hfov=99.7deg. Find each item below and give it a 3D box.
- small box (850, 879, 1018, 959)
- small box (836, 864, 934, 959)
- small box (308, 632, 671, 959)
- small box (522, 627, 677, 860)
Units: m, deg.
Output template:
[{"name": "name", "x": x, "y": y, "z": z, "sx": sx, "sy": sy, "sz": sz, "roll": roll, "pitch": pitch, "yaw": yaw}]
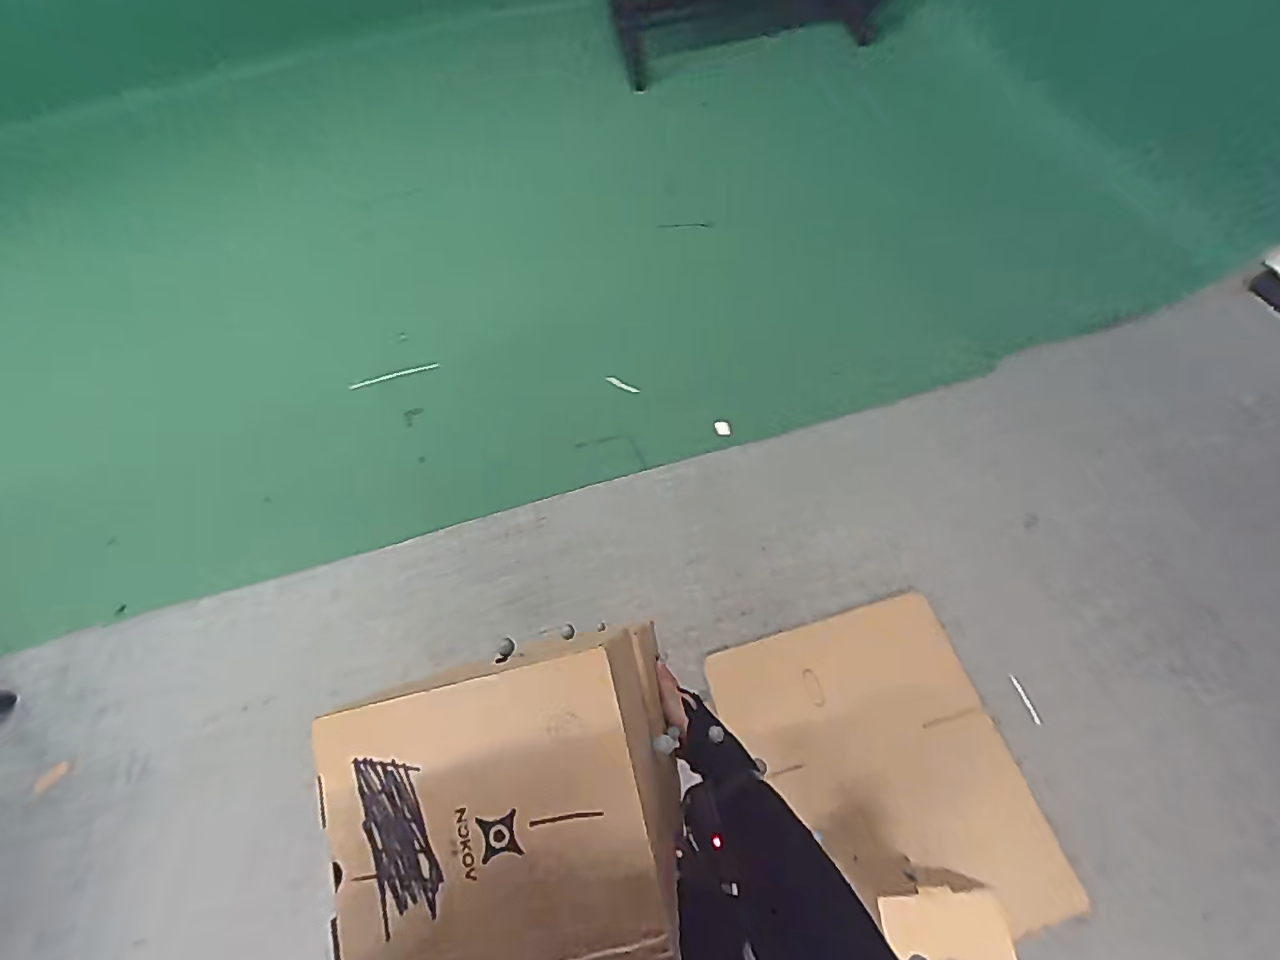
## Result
[{"name": "small box", "x": 0.416, "y": 0.684, "z": 0.768, "sx": 0.168, "sy": 0.176, "sz": 0.179, "roll": -4, "pitch": 62, "yaw": 2}, {"name": "small box", "x": 0.443, "y": 0.766, "z": 0.908, "sx": 0.179, "sy": 0.176, "sz": 0.168, "roll": 3, "pitch": 63, "yaw": 6}, {"name": "small box", "x": -0.081, "y": 0.207, "z": 0.365, "sx": 0.179, "sy": 0.176, "sz": 0.168, "roll": -15, "pitch": 78, "yaw": -1}, {"name": "small box", "x": -0.061, "y": 0.250, "z": 0.523, "sx": 0.168, "sy": 0.176, "sz": 0.179, "roll": -13, "pitch": 77, "yaw": -1}]
